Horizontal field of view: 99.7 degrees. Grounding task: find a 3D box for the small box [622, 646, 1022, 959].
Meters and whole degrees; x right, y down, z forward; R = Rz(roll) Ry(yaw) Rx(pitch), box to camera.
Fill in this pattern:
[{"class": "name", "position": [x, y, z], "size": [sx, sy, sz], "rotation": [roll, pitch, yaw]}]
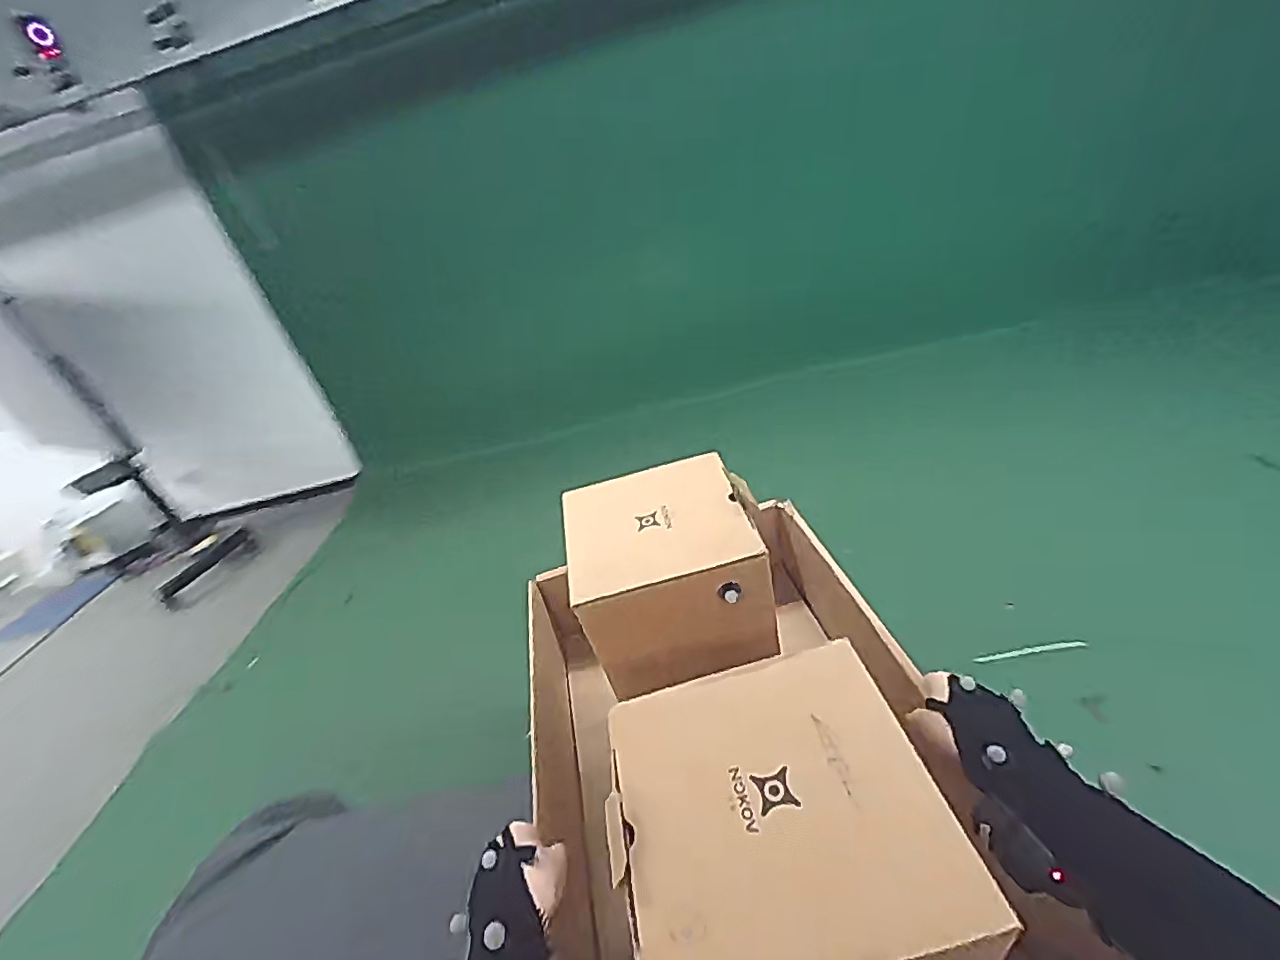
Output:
[{"class": "small box", "position": [0.099, 0.245, 0.354], "size": [0.179, 0.176, 0.168], "rotation": [-16, 36, 0]}]
